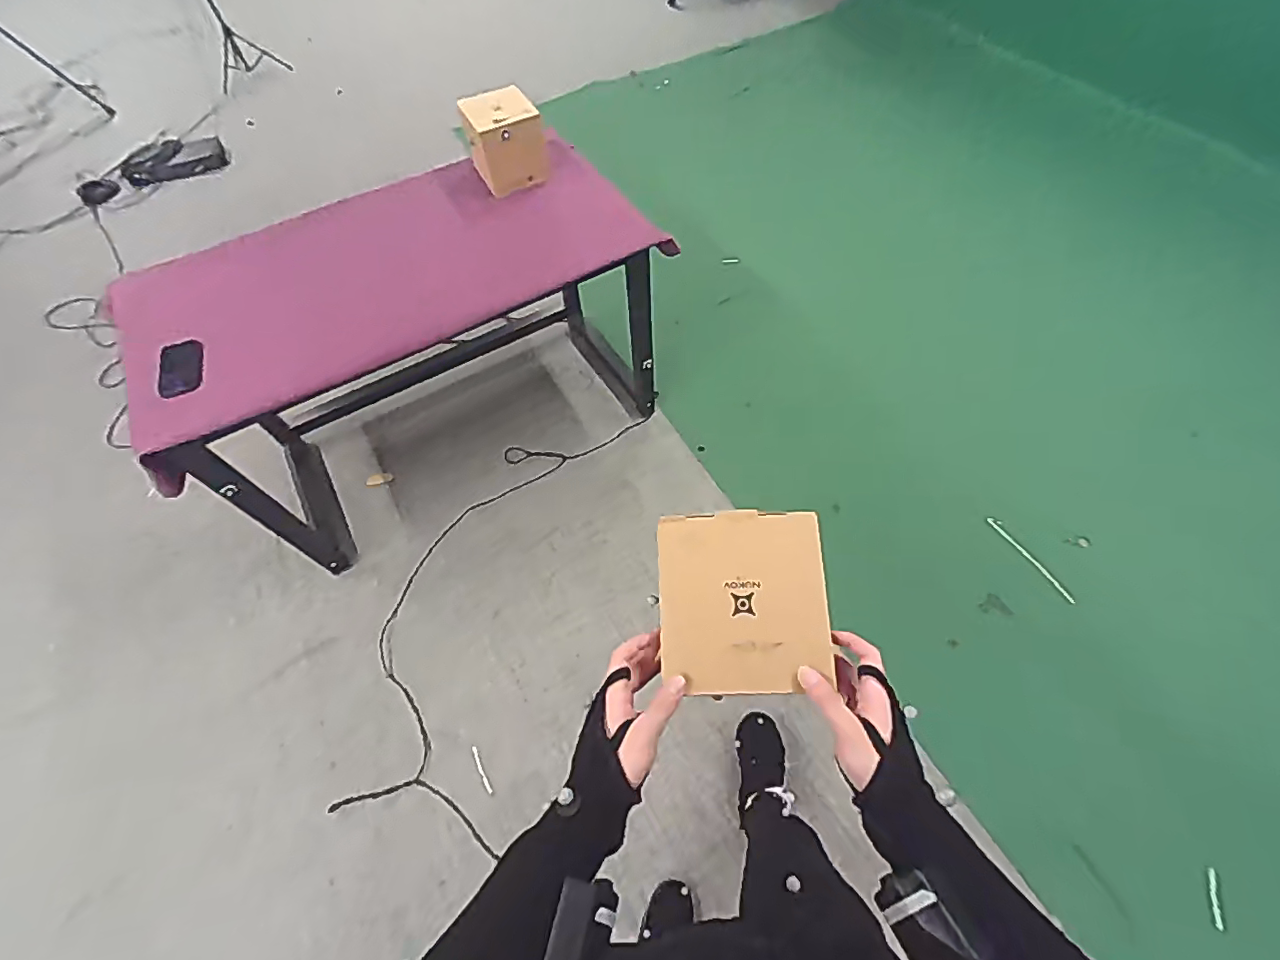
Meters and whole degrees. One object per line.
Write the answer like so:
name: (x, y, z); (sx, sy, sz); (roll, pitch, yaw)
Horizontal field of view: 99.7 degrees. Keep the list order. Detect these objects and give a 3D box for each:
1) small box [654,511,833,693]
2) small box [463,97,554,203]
small box: (0.100, 0.140, 0.604); (0.168, 0.176, 0.179); (-1, 73, 2)
small box: (-0.346, -0.878, 1.442); (0.168, 0.176, 0.179); (-26, 61, -12)
